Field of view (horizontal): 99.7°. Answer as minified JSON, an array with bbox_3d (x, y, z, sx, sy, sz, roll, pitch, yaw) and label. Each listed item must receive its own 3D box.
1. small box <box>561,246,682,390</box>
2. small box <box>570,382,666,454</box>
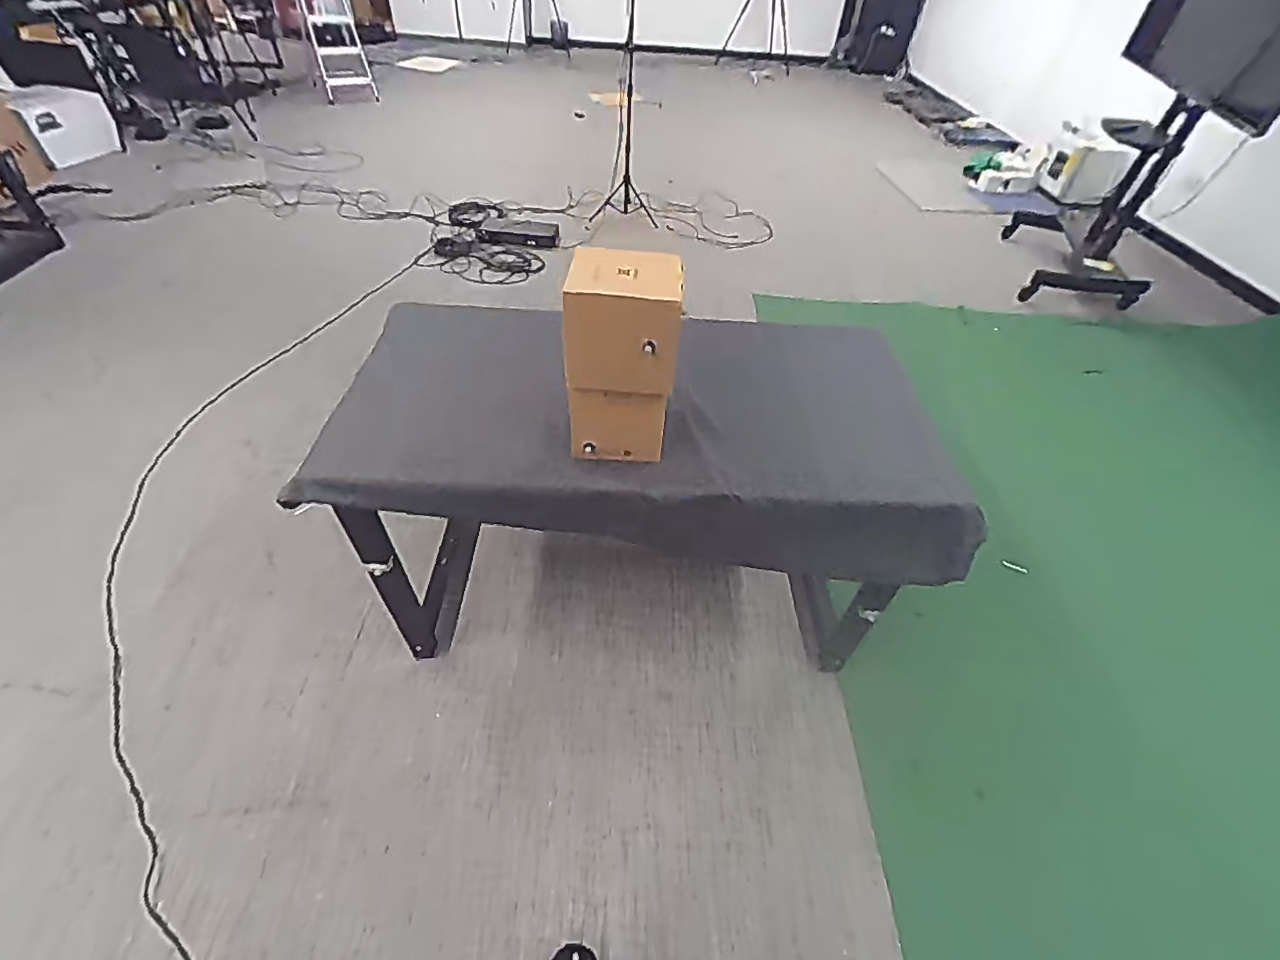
[{"bbox_3d":[-0.027,-0.264,0.889,0.179,0.176,0.168,3,45,1],"label":"small box"},{"bbox_3d":[-0.040,-0.163,1.016,0.168,0.176,0.179,0,48,-3],"label":"small box"}]
